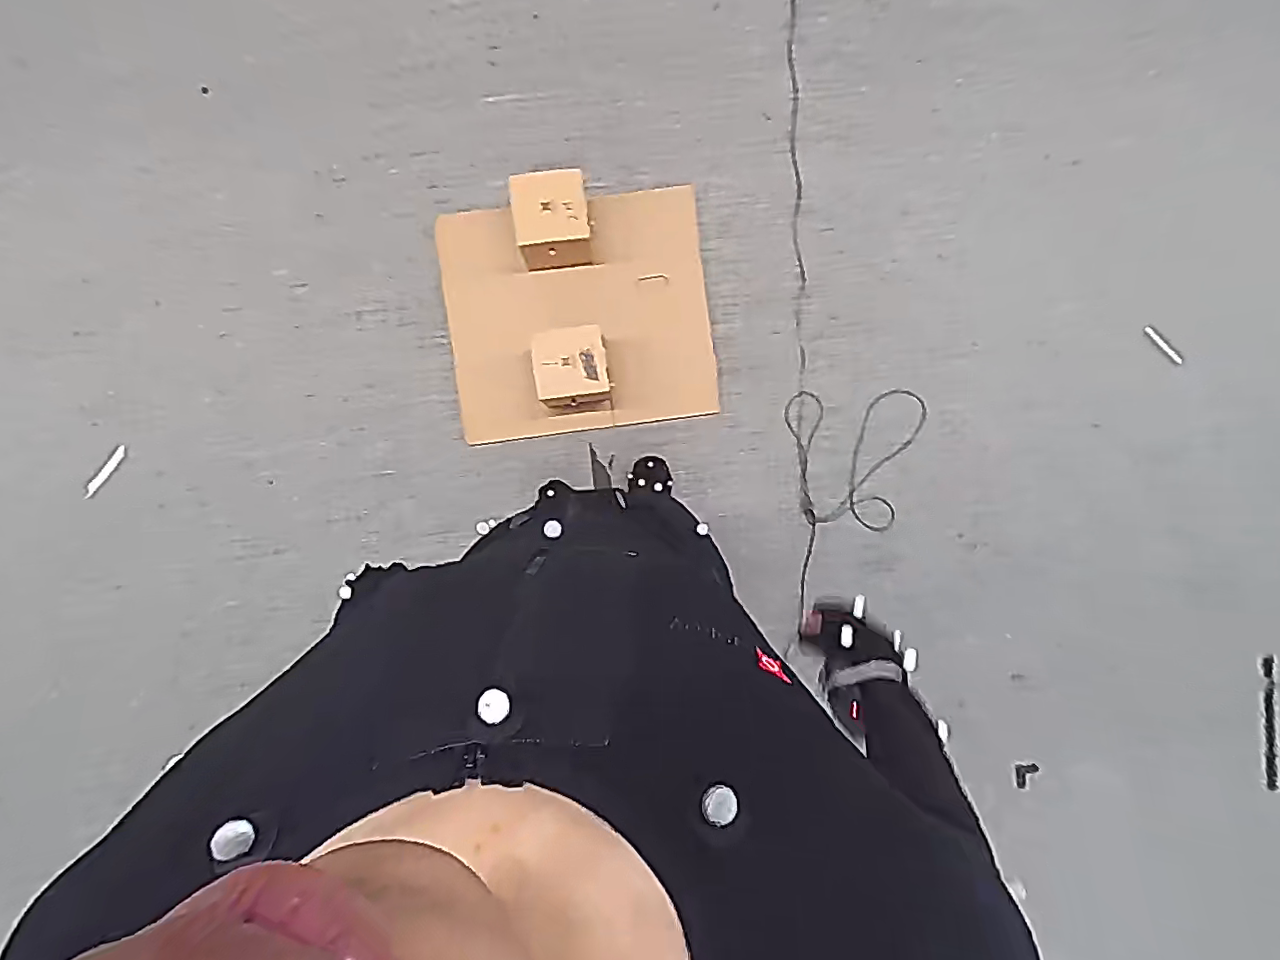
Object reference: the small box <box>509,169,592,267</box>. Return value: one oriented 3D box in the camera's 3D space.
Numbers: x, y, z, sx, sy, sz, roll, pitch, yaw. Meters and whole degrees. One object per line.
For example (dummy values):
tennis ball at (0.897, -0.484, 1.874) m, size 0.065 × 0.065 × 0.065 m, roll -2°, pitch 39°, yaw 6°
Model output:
small box at (-0.219, -0.651, 1.362) m, size 0.179 × 0.176 × 0.168 m, roll -7°, pitch 93°, yaw -3°

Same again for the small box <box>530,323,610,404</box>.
small box at (-0.173, -0.292, 1.380) m, size 0.179 × 0.176 × 0.168 m, roll -8°, pitch 93°, yaw -2°
